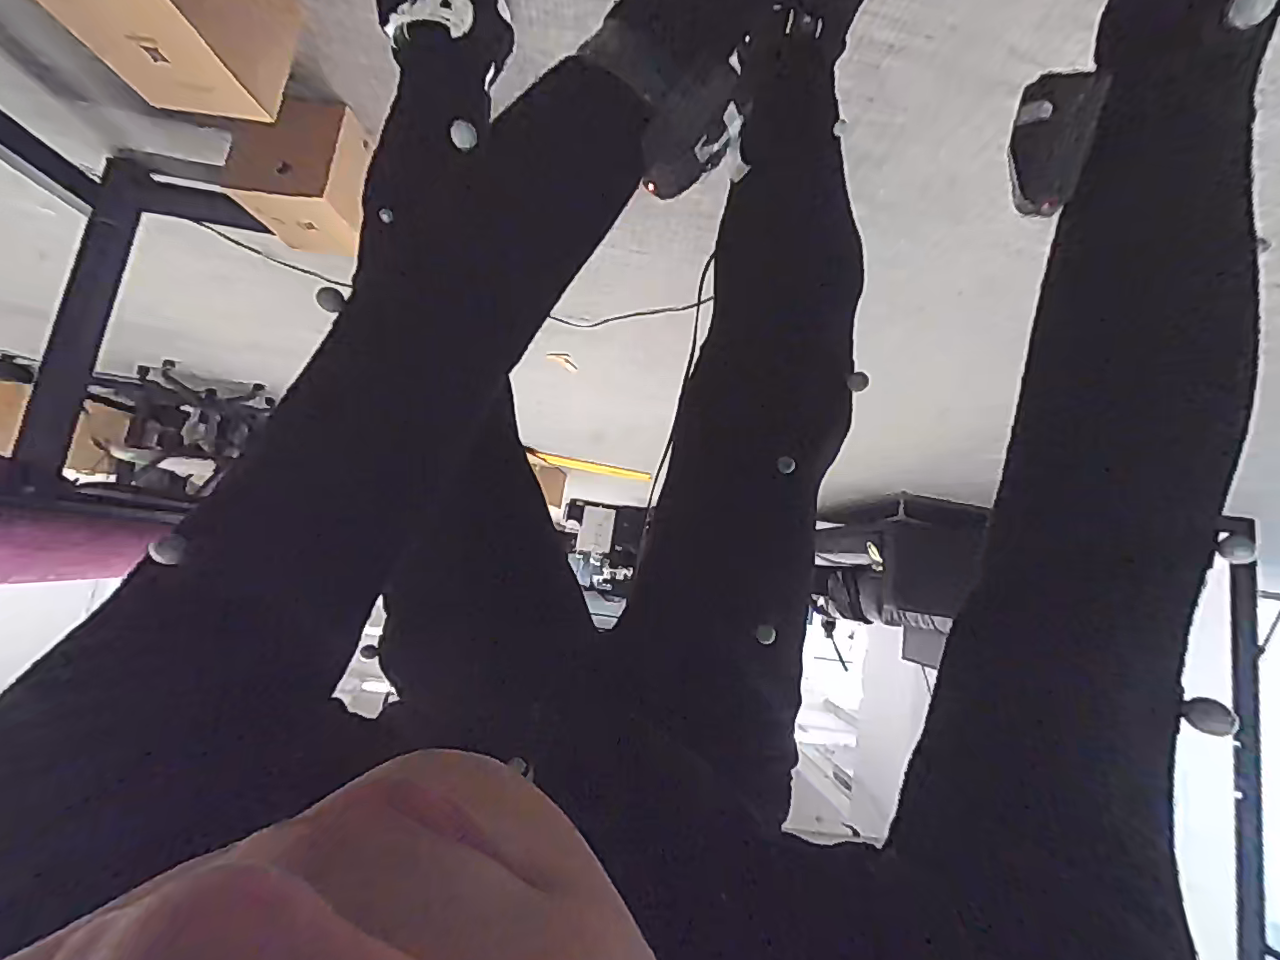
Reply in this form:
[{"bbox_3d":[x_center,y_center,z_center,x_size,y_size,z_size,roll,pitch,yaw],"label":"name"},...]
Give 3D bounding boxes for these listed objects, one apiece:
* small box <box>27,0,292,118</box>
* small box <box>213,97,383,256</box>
[{"bbox_3d":[-0.526,-0.548,0.592,0.168,0.176,0.179,9,172,1],"label":"small box"},{"bbox_3d":[-0.555,-0.504,0.905,0.179,0.176,0.168,8,171,3],"label":"small box"}]
